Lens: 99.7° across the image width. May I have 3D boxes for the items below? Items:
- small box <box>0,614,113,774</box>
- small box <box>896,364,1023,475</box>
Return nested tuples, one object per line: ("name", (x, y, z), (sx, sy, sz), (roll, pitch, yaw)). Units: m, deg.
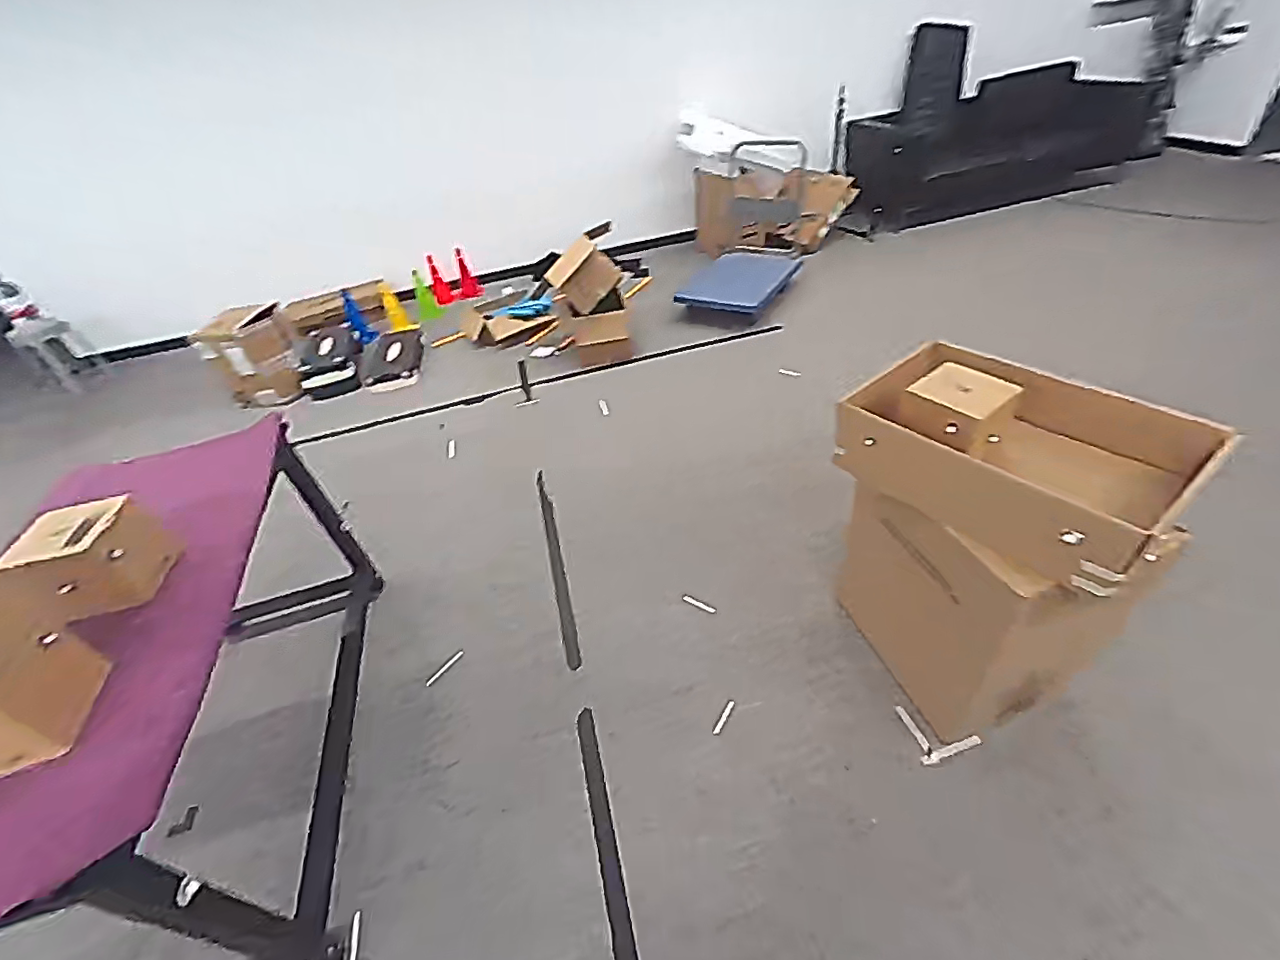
("small box", (-1.029, 0.357, 0.878), (0.168, 0.176, 0.179), (-17, 40, -10))
("small box", (0.724, -0.135, 1.245), (0.168, 0.176, 0.179), (-29, 44, -22))
